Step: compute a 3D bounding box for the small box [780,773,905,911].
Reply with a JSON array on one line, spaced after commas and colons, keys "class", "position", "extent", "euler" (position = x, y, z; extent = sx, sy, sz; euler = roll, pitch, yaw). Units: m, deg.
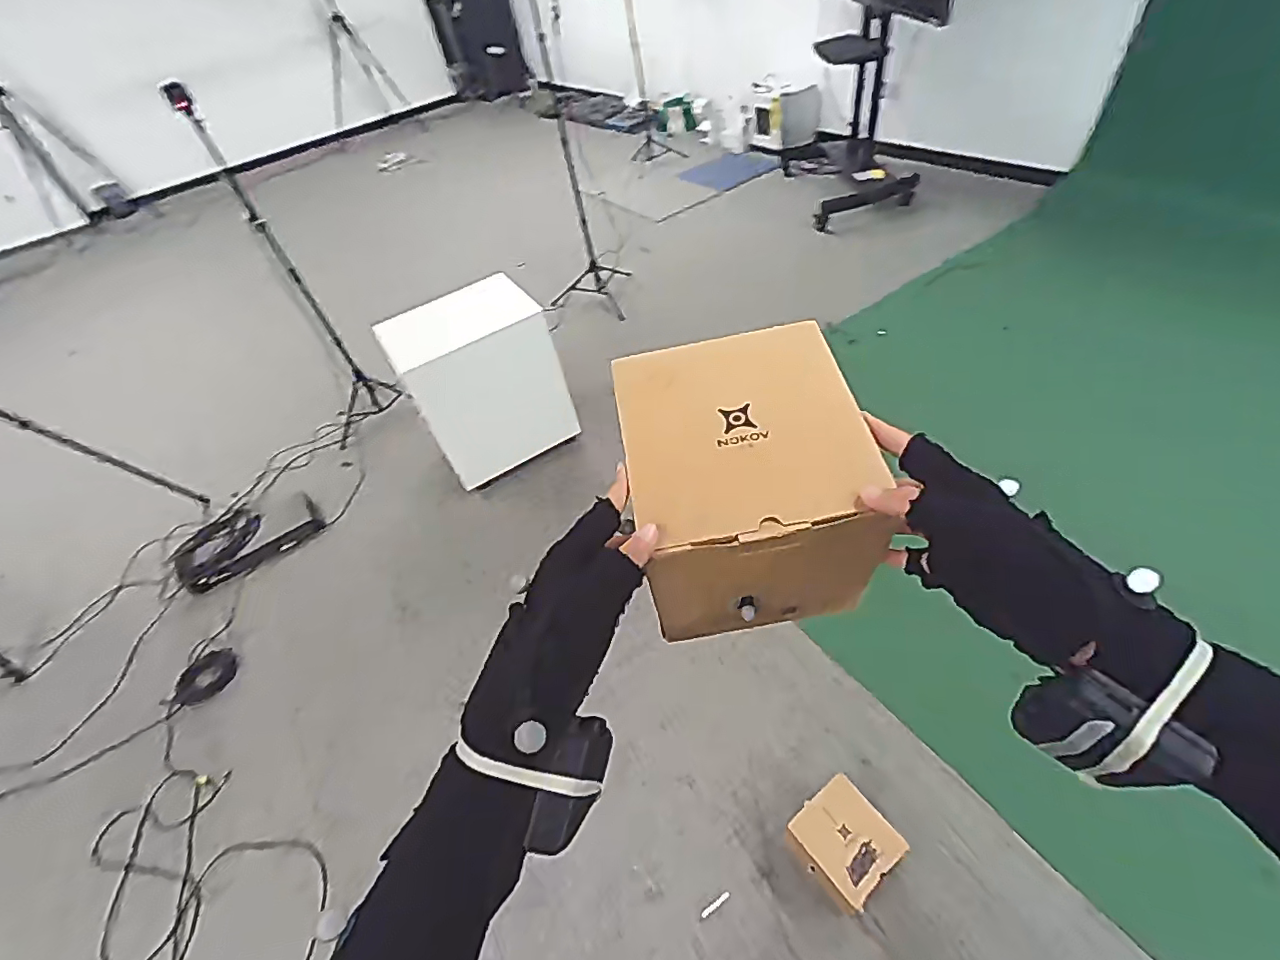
[{"class": "small box", "position": [0.416, 0.762, 1.135], "extent": [0.168, 0.176, 0.179], "euler": [-33, 49, -19]}]
